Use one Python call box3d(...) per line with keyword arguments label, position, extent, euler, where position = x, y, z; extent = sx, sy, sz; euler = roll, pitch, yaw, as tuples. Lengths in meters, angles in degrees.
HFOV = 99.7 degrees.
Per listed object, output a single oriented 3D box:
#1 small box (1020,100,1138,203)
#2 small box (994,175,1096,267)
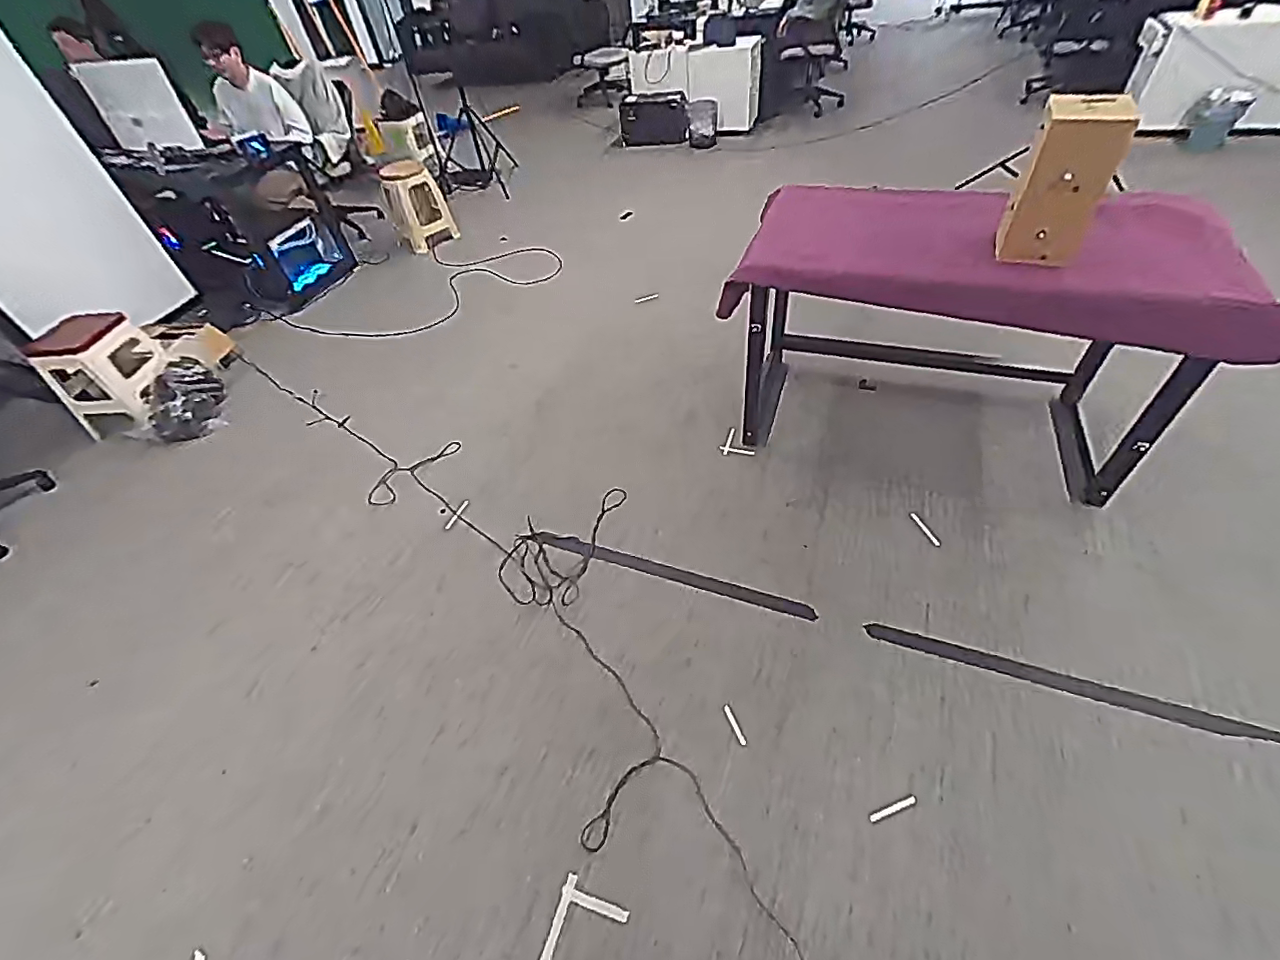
box3d(label="small box", position=(1.040, -0.791, 1.299), extent=(0.168, 0.176, 0.179), euler=(14, 51, 20))
box3d(label="small box", position=(1.052, -0.678, 1.418), extent=(0.168, 0.176, 0.179), euler=(15, 51, 20))
